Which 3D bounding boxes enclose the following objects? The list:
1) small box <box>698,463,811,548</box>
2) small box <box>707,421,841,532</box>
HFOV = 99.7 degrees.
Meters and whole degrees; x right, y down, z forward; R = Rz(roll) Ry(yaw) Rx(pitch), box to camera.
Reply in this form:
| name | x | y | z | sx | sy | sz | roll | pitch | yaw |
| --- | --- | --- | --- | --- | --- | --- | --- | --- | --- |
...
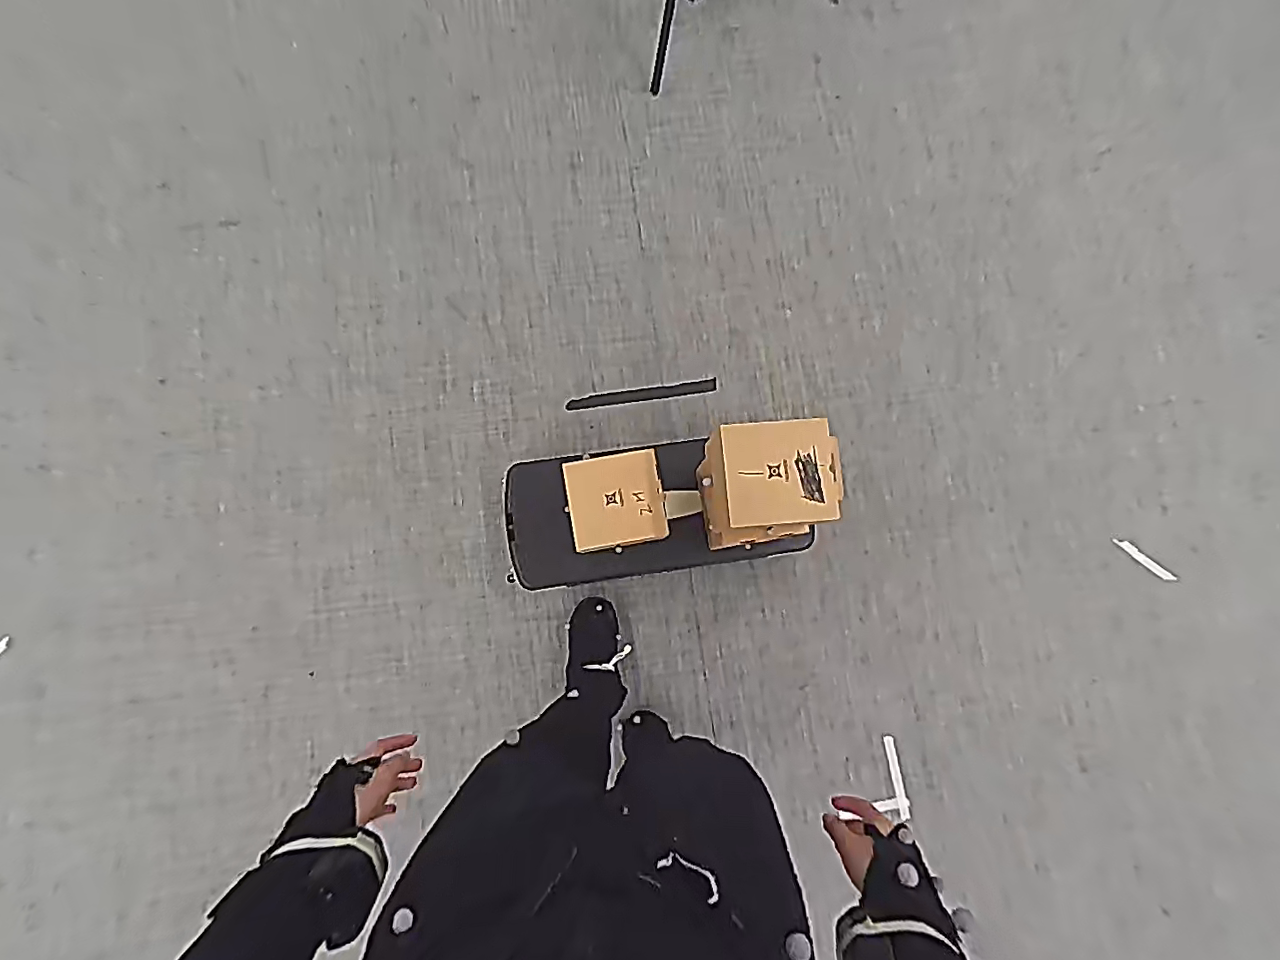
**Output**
| name | x | y | z | sx | sy | sz | roll | pitch | yaw |
| --- | --- | --- | --- | --- | --- | --- | --- | --- | --- |
| small box | 0.219 | 0.038 | 1.085 | 0.168 | 0.176 | 0.179 | -9 | 83 | -4 |
| small box | 0.219 | 0.000 | 0.925 | 0.179 | 0.176 | 0.168 | -4 | 82 | -2 |
